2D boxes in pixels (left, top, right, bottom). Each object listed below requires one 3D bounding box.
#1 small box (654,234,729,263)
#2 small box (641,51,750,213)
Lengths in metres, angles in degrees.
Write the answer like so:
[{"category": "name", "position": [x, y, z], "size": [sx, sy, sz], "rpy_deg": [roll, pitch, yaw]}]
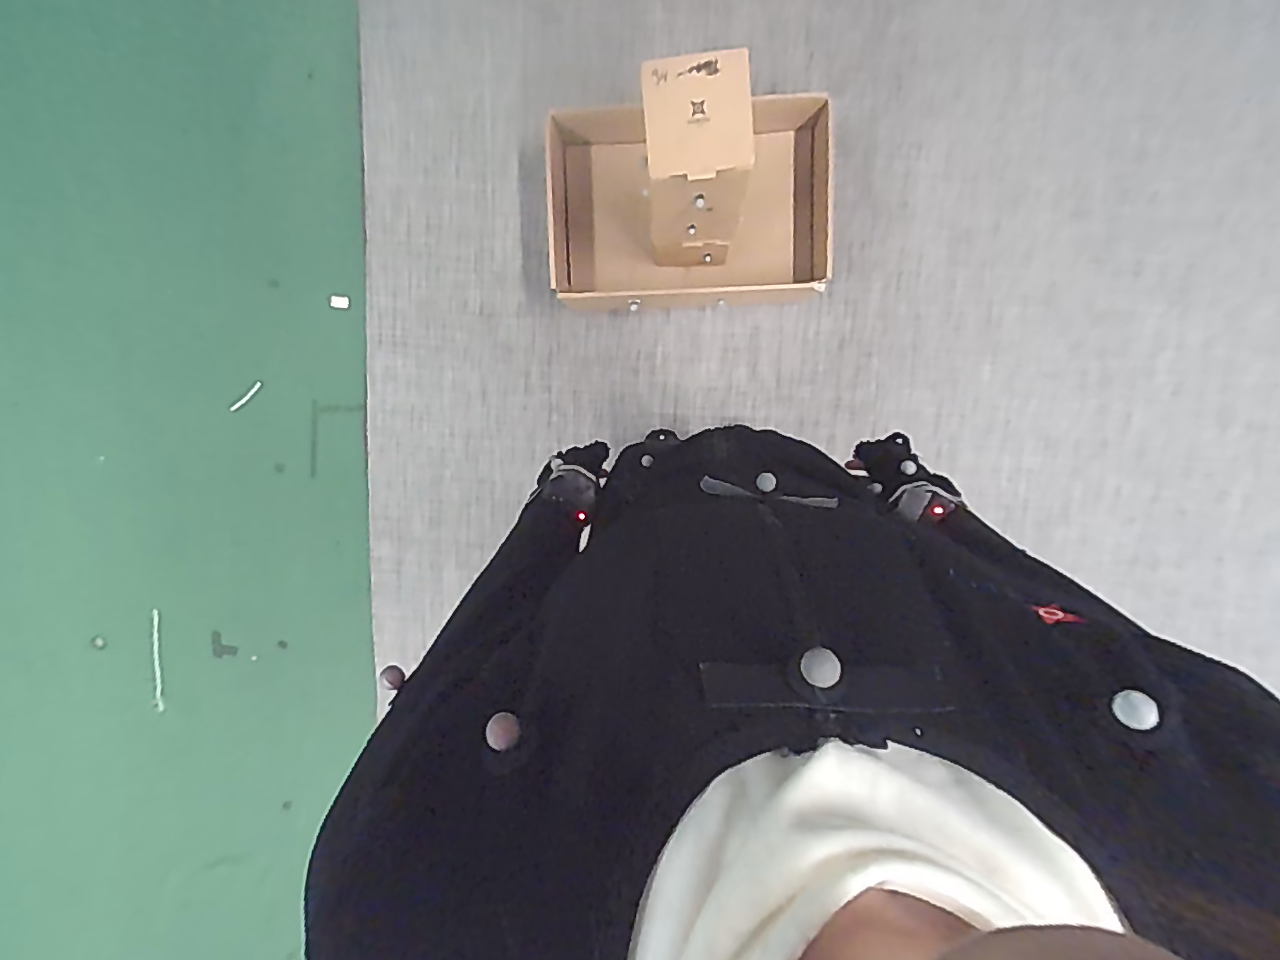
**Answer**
[{"category": "small box", "position": [0.118, -0.606, 1.239], "size": [0.168, 0.176, 0.179], "rpy_deg": [1, 95, 4]}, {"category": "small box", "position": [0.093, -0.570, 0.915], "size": [0.168, 0.176, 0.179], "rpy_deg": [-3, 97, 5]}]
